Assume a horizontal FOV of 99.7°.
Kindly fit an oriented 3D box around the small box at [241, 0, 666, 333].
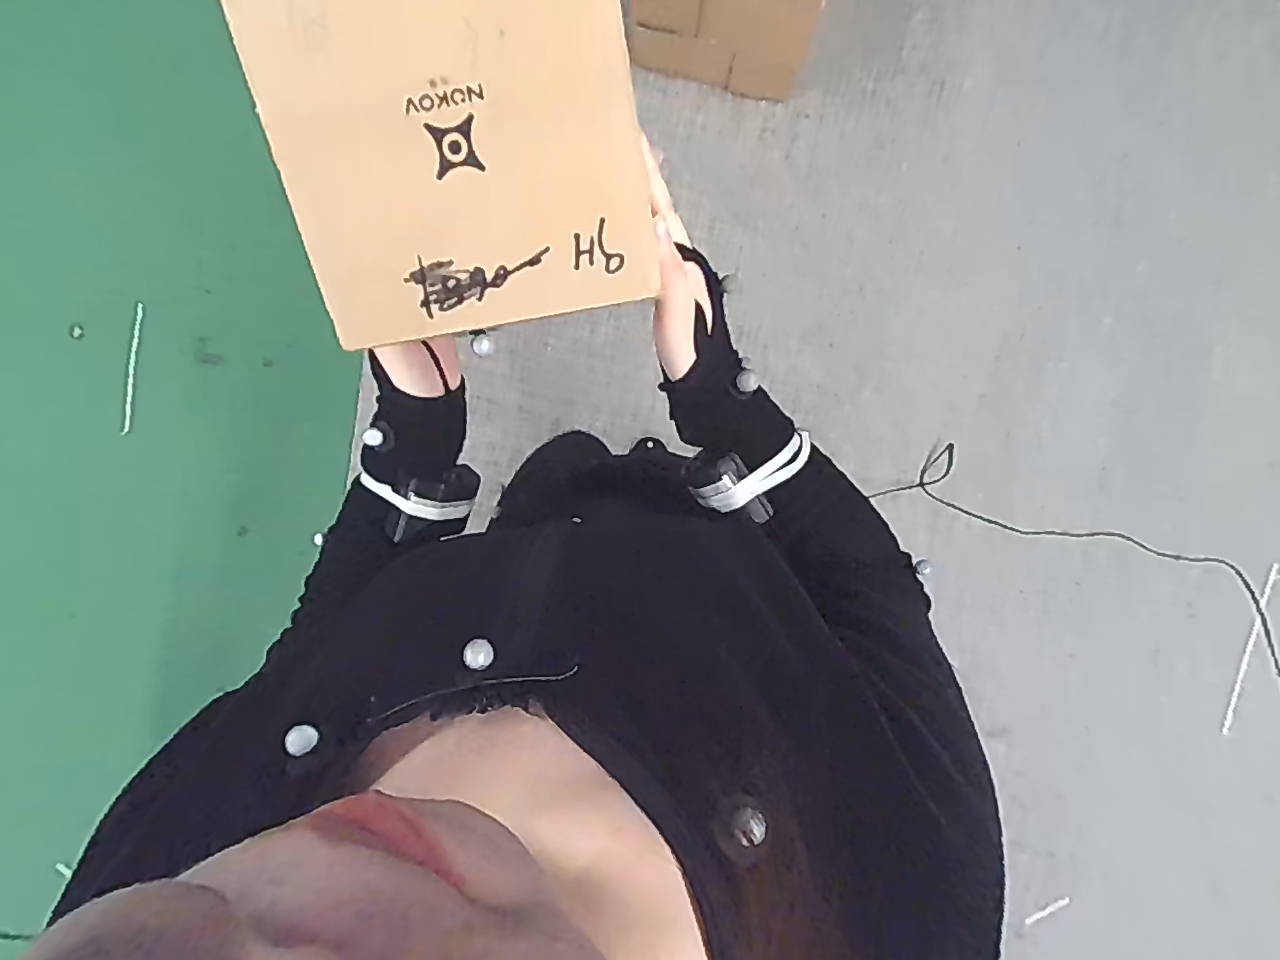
[{"bbox_3d":[-0.080,-0.188,0.316,0.168,0.176,0.179,-8,108,3],"label":"small box"}]
